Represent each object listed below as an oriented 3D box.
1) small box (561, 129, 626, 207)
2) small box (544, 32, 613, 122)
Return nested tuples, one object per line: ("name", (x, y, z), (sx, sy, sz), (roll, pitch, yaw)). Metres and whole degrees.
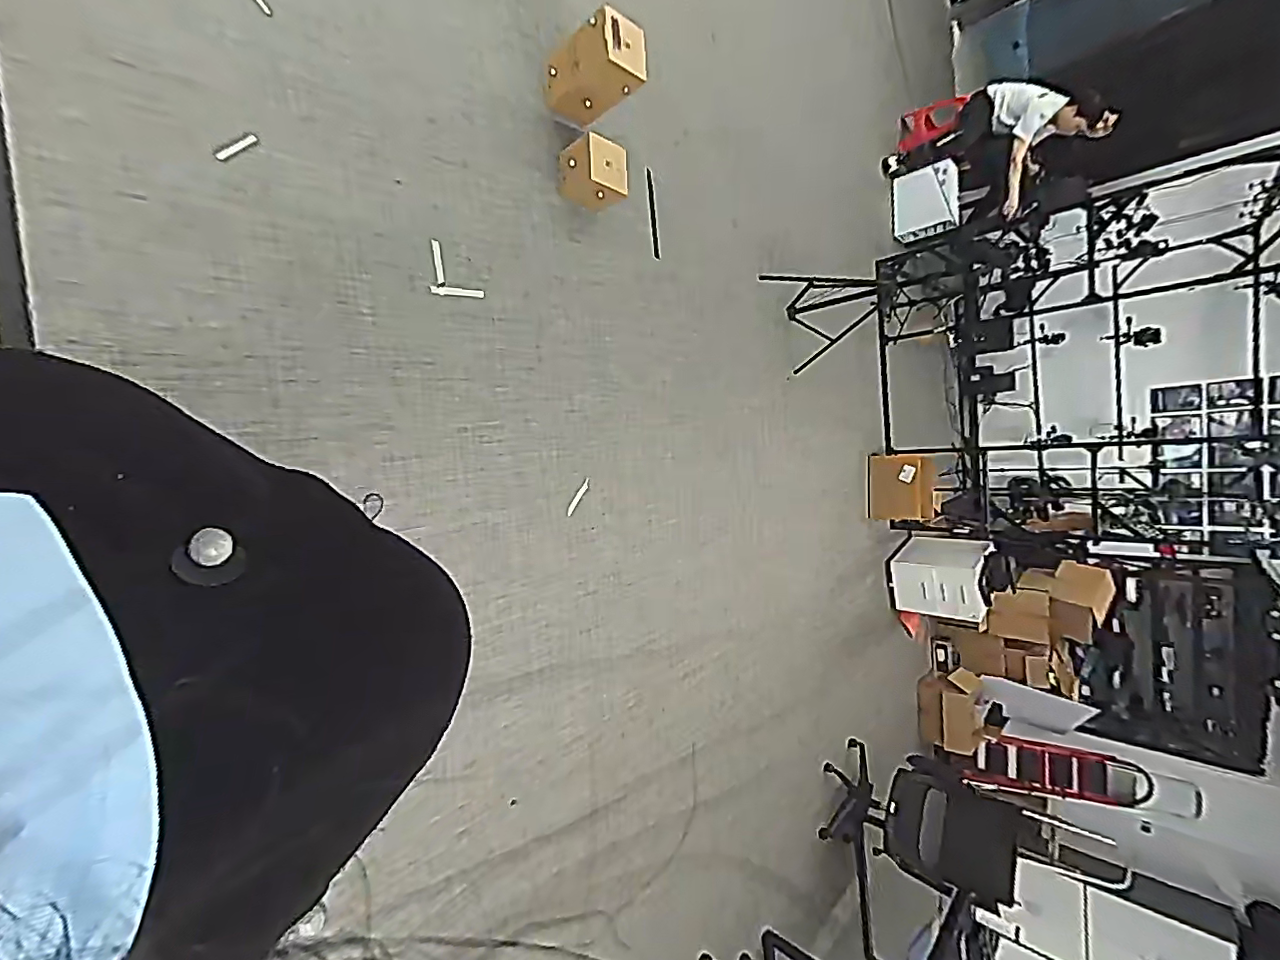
("small box", (-0.169, -1.102, 1.930), (0.179, 0.176, 0.168), (-4, 93, -46))
("small box", (-0.215, -1.396, 1.892), (0.179, 0.176, 0.168), (-5, 93, -45))
